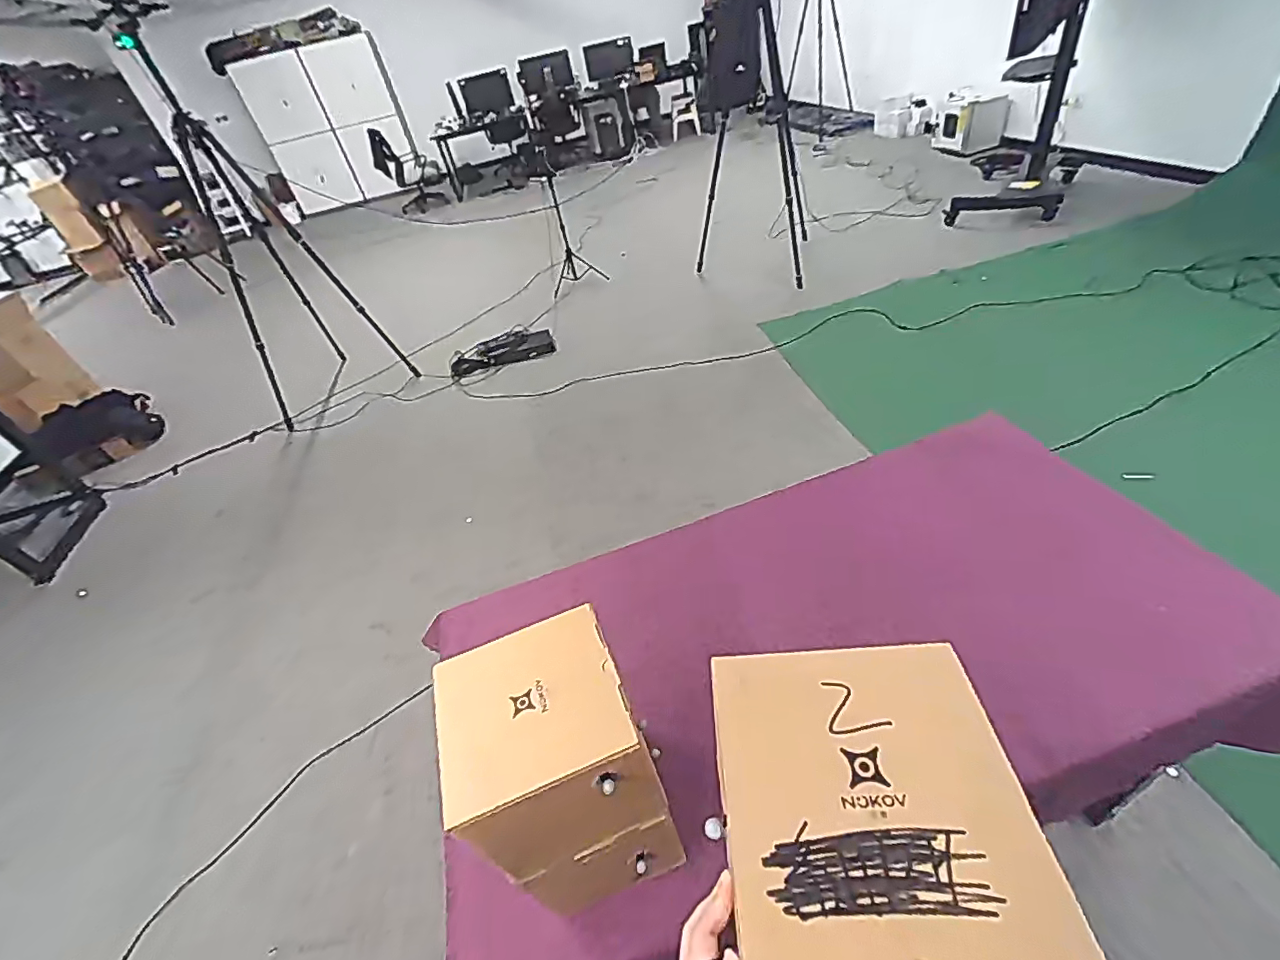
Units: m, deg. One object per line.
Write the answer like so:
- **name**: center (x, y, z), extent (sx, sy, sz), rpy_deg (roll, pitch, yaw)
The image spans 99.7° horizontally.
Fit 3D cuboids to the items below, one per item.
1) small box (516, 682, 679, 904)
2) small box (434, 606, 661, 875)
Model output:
- **small box**: center (-0.061, 0.390, 0.671), extent (0.168, 0.176, 0.179), rpy_deg (-19, 40, -8)
- **small box**: center (-0.094, 0.271, 0.566), extent (0.179, 0.176, 0.168), rpy_deg (-20, 41, -10)
